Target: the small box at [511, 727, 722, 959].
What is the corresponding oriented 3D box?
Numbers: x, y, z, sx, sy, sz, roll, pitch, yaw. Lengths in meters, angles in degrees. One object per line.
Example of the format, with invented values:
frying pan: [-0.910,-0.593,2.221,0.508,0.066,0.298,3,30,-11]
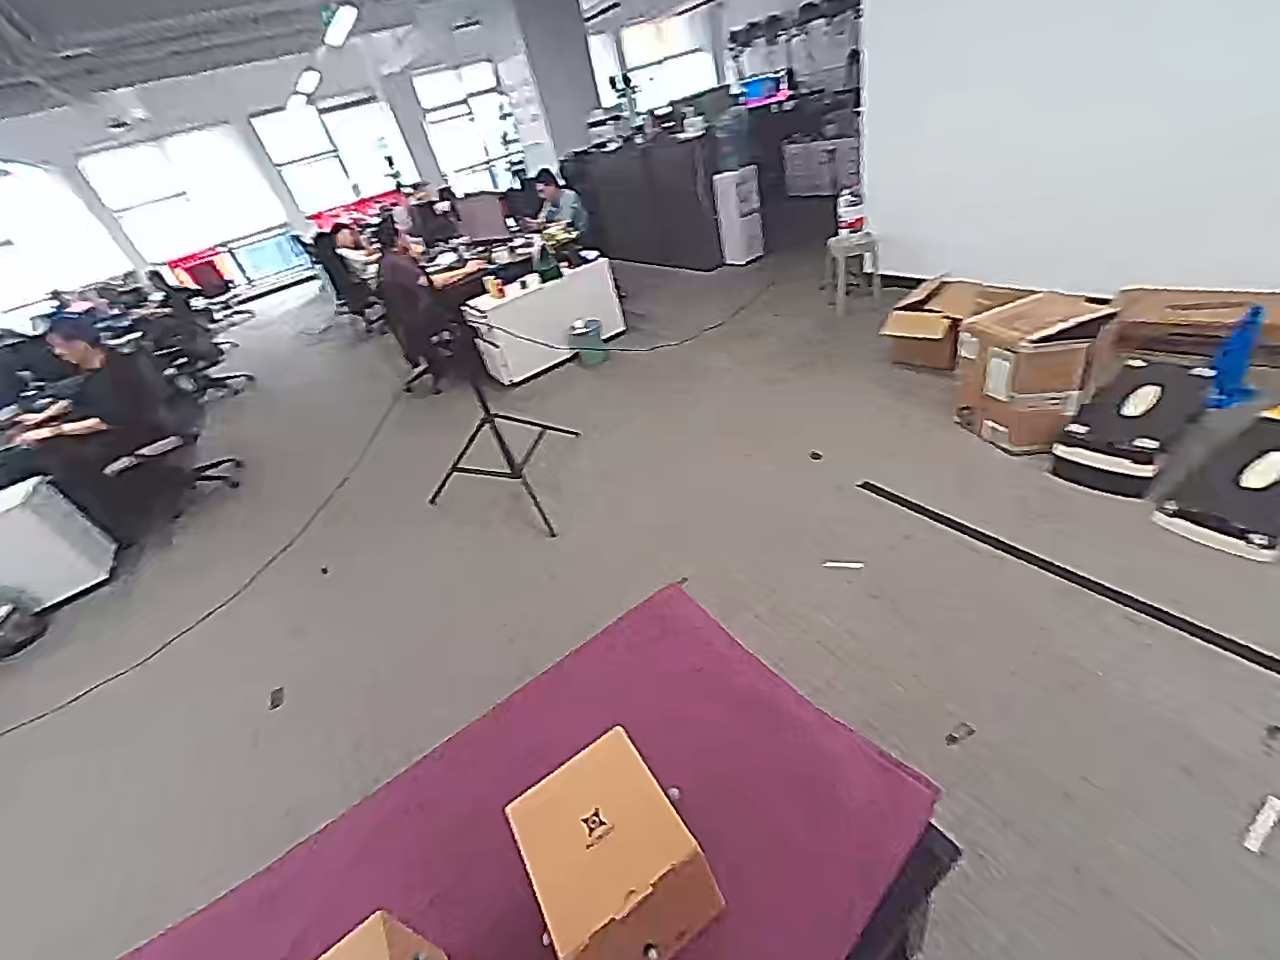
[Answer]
small box: [-0.026,0.446,0.640,0.168,0.176,0.179,-30,36,-19]
